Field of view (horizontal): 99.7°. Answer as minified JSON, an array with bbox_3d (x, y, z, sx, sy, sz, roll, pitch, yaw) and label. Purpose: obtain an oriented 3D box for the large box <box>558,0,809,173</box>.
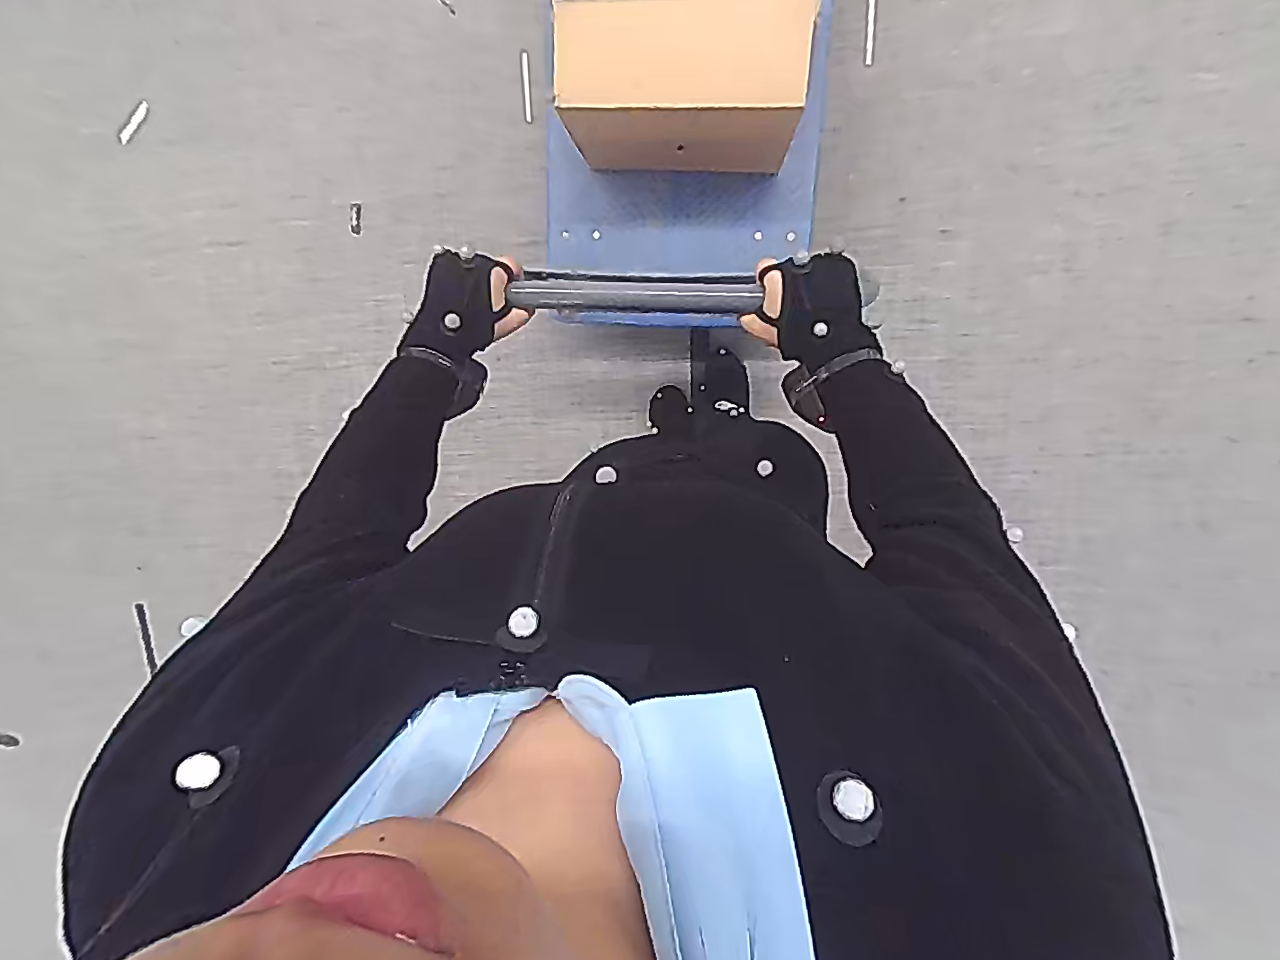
[{"bbox_3d":[0.084,-0.783,0.995,0.408,0.320,0.320,3,102,6],"label":"large box"}]
